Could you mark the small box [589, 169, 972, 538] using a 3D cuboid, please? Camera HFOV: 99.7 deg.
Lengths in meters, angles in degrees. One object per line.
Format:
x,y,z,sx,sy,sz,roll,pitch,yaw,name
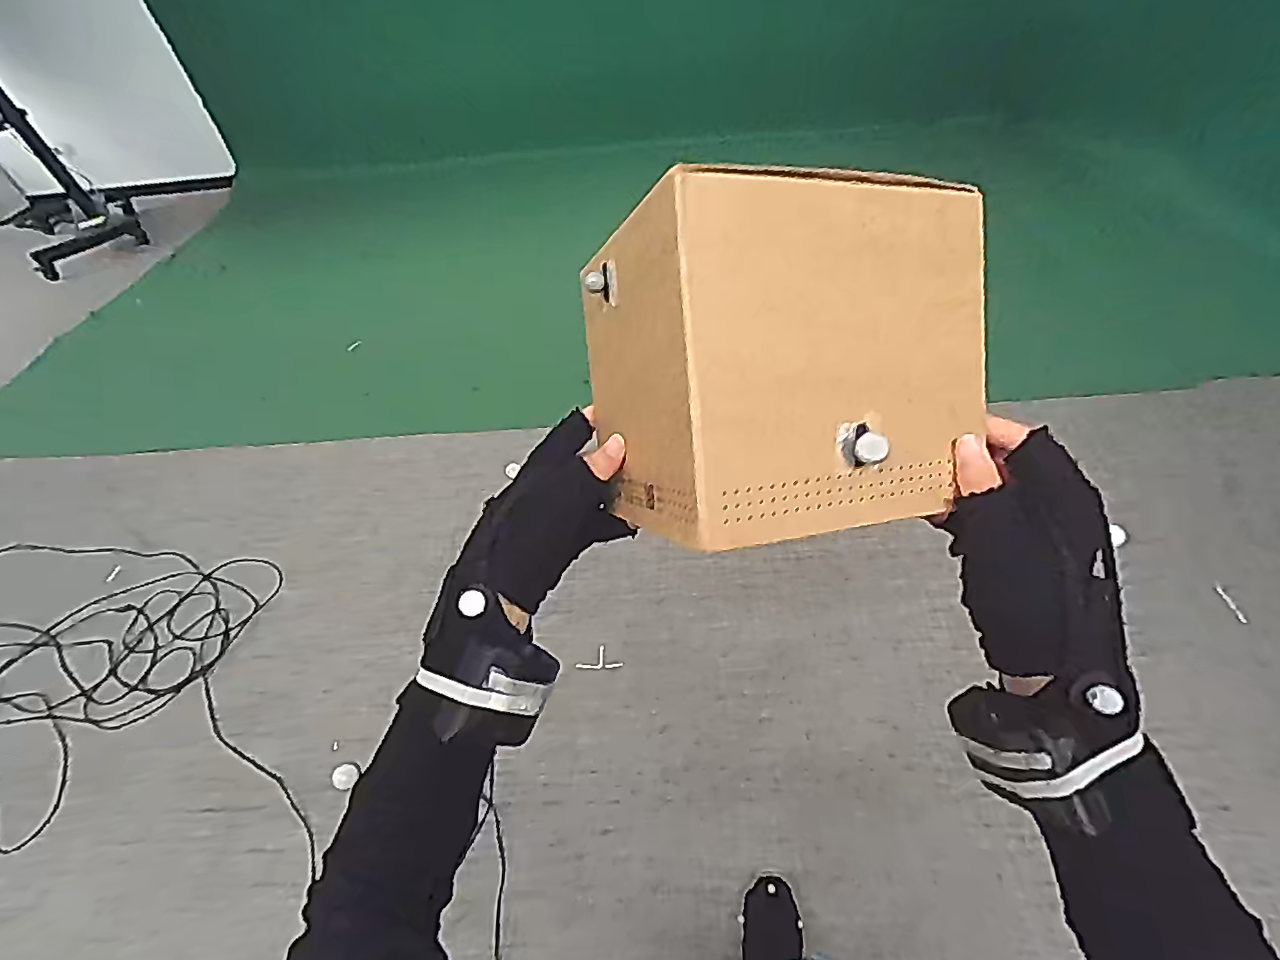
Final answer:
0.075,-0.067,0.345,0.179,0.176,0.168,-7,6,-20,small box
